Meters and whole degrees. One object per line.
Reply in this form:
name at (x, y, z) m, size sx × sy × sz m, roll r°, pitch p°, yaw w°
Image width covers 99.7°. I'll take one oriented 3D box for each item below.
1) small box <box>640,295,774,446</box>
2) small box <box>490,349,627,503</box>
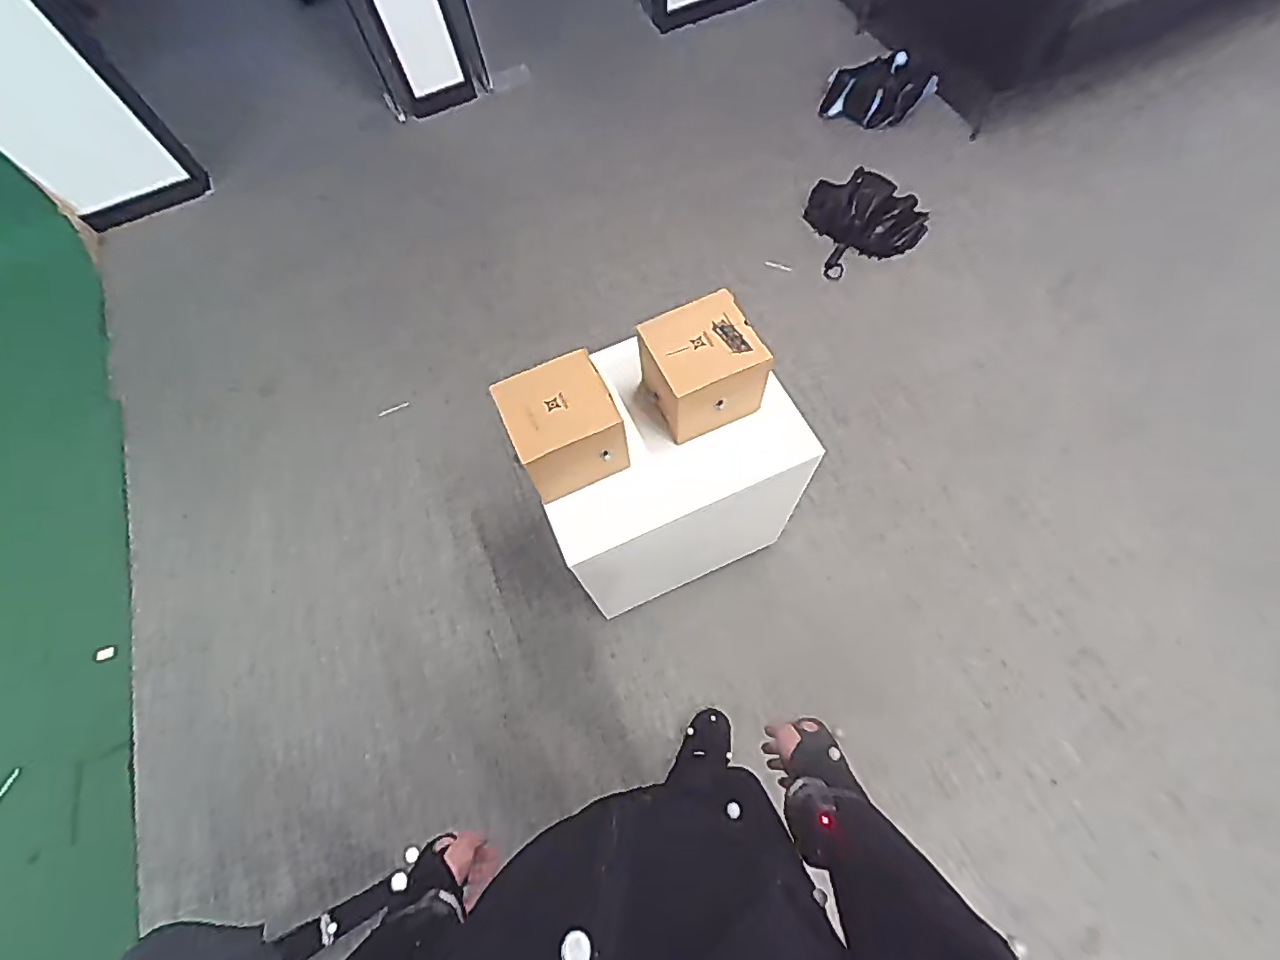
small box at (0.112, -0.189, 0.967) m, size 0.179 × 0.176 × 0.168 m, roll -23°, pitch 66°, yaw -7°
small box at (-0.131, -0.086, 0.932) m, size 0.179 × 0.176 × 0.168 m, roll -24°, pitch 65°, yaw -9°
